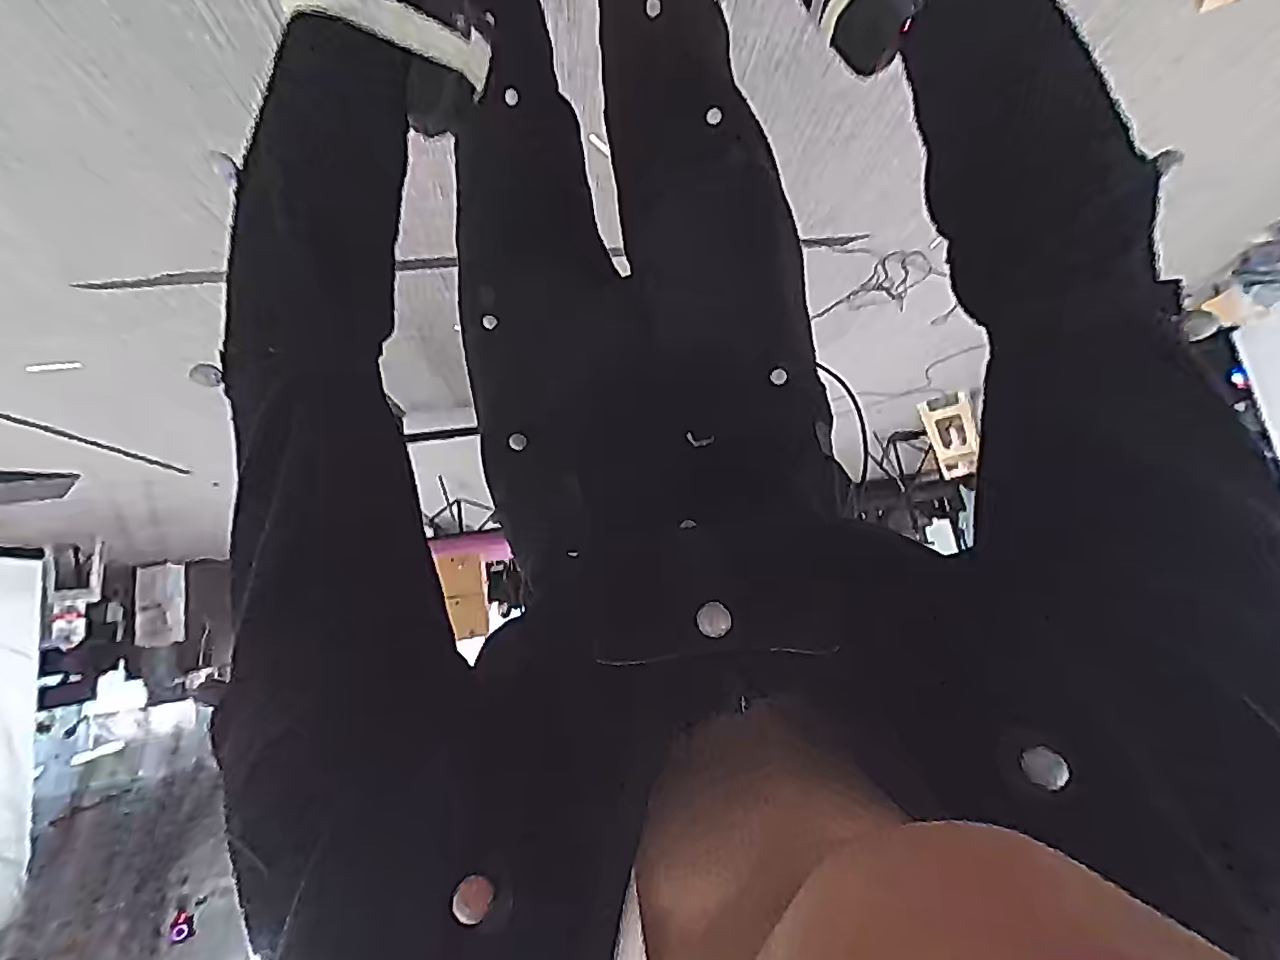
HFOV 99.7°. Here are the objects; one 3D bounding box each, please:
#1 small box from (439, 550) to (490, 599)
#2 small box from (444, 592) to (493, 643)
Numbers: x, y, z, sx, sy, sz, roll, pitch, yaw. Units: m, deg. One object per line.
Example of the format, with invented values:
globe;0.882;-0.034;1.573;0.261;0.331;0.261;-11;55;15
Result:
small box;-0.699;0.377;2.162;0.168;0.176;0.179;-8;169;-12
small box;-0.672;0.536;2.128;0.168;0.176;0.179;-7;170;-14
